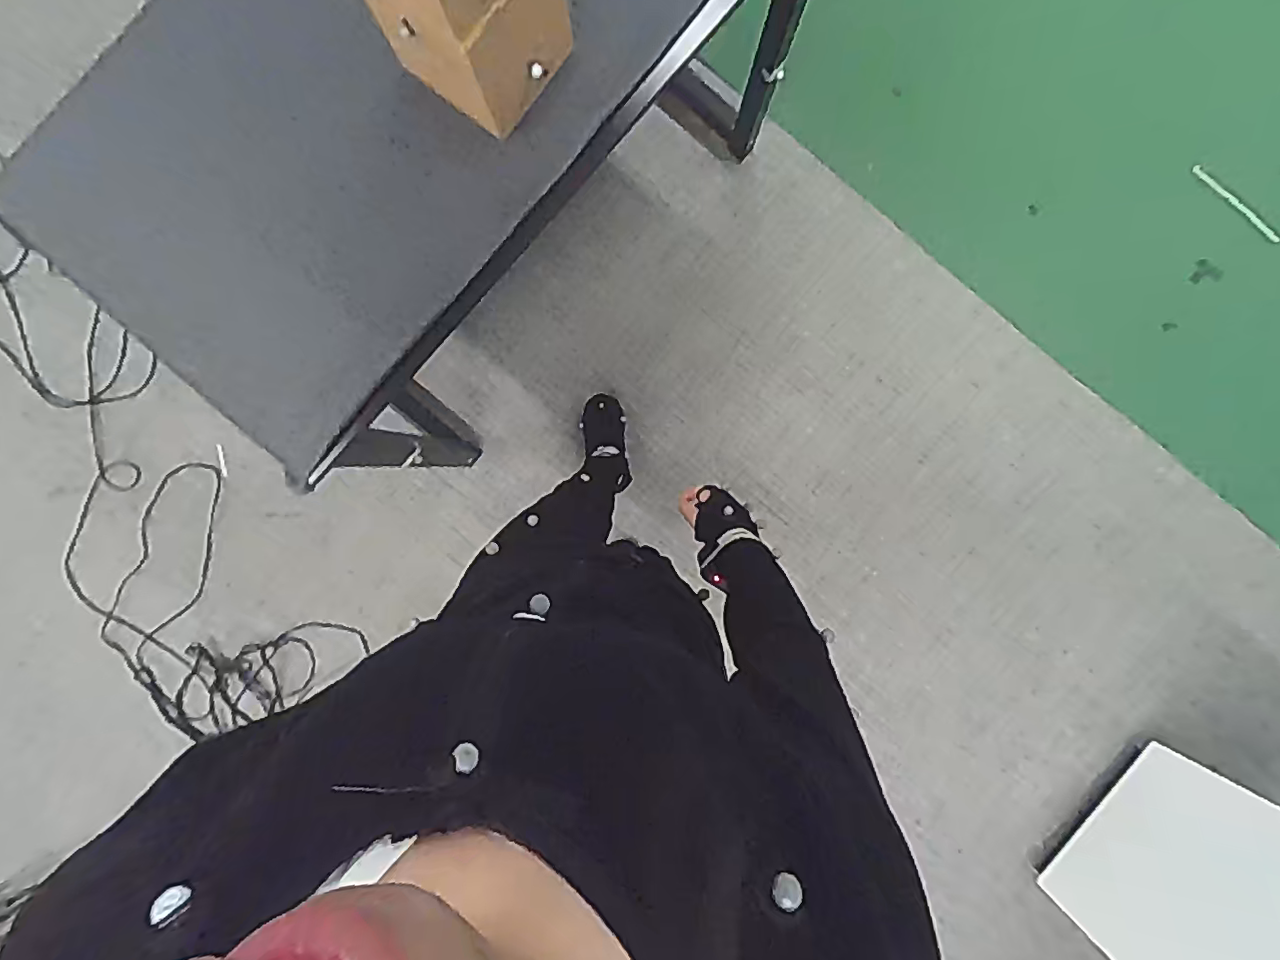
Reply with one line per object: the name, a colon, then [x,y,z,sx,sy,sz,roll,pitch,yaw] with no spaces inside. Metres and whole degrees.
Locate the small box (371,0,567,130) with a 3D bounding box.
small box: [-0.210,-0.581,0.657,0.179,0.176,0.168,37,90,-1]
